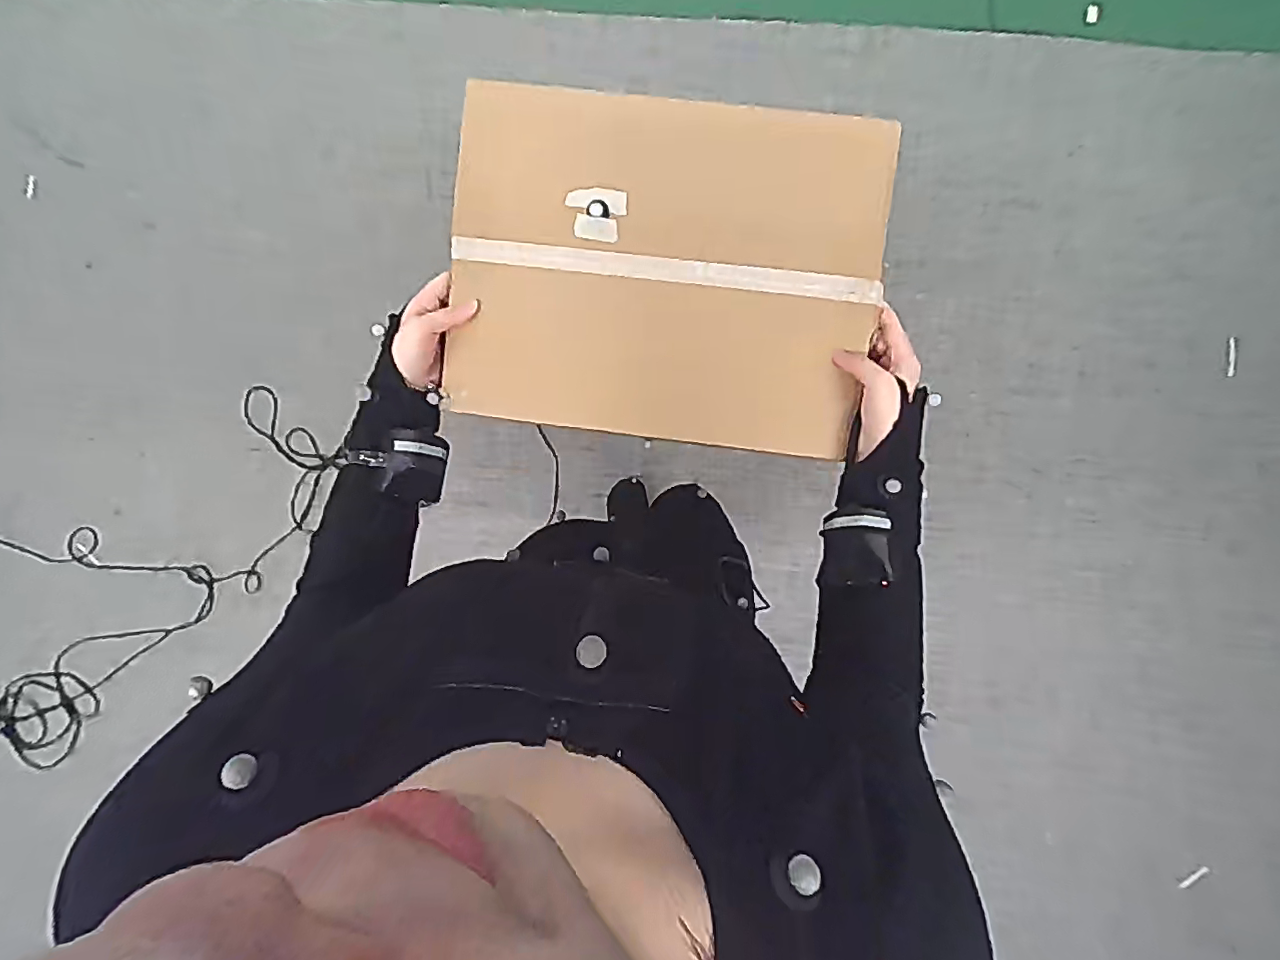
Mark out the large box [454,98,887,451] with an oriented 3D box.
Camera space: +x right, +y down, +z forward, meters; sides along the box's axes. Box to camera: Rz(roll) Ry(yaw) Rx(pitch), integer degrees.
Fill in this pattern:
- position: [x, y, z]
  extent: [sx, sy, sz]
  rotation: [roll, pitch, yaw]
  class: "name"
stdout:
- position: [0.033, -0.215, 0.674]
  extent: [0.408, 0.320, 0.320]
  rotation: [7, 95, 4]
  class: "large box"
